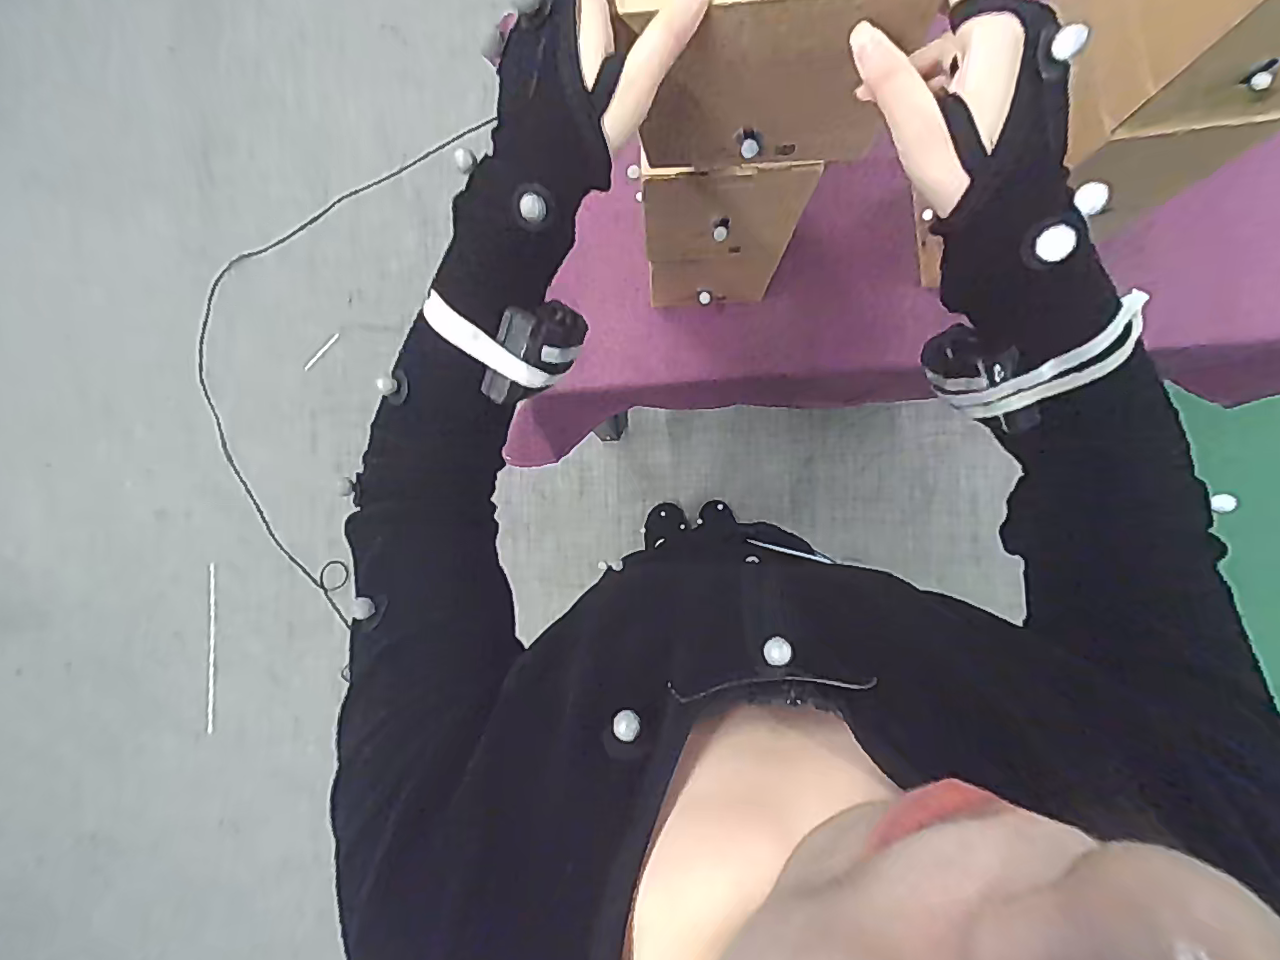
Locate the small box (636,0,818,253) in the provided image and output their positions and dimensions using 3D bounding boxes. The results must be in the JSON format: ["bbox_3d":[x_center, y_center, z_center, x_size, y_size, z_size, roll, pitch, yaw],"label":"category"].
[{"bbox_3d":[0.083,-0.356,0.573,0.168,0.176,0.179,-2,87,2],"label":"small box"}]

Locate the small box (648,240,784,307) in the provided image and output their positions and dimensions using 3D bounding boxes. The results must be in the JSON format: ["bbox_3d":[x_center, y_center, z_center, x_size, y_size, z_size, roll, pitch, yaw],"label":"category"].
[{"bbox_3d":[0.093,-0.354,0.737,0.168,0.176,0.179,-2,87,2],"label":"small box"}]

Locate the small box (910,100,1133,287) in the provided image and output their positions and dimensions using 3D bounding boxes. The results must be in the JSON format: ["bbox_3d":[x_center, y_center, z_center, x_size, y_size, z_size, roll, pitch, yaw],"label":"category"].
[{"bbox_3d":[0.491,-0.373,0.720,0.179,0.176,0.168,-4,86,2],"label":"small box"}]

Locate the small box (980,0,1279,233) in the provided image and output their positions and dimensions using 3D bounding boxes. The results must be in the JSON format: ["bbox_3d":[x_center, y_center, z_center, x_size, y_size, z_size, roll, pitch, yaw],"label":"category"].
[{"bbox_3d":[0.483,-0.385,0.558,0.168,0.176,0.179,-5,87,3],"label":"small box"}]

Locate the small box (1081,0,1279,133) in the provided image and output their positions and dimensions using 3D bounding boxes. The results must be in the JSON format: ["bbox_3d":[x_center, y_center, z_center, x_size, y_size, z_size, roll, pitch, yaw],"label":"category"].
[{"bbox_3d":[0.471,-0.401,0.397,0.168,0.176,0.179,-7,87,3],"label":"small box"}]
